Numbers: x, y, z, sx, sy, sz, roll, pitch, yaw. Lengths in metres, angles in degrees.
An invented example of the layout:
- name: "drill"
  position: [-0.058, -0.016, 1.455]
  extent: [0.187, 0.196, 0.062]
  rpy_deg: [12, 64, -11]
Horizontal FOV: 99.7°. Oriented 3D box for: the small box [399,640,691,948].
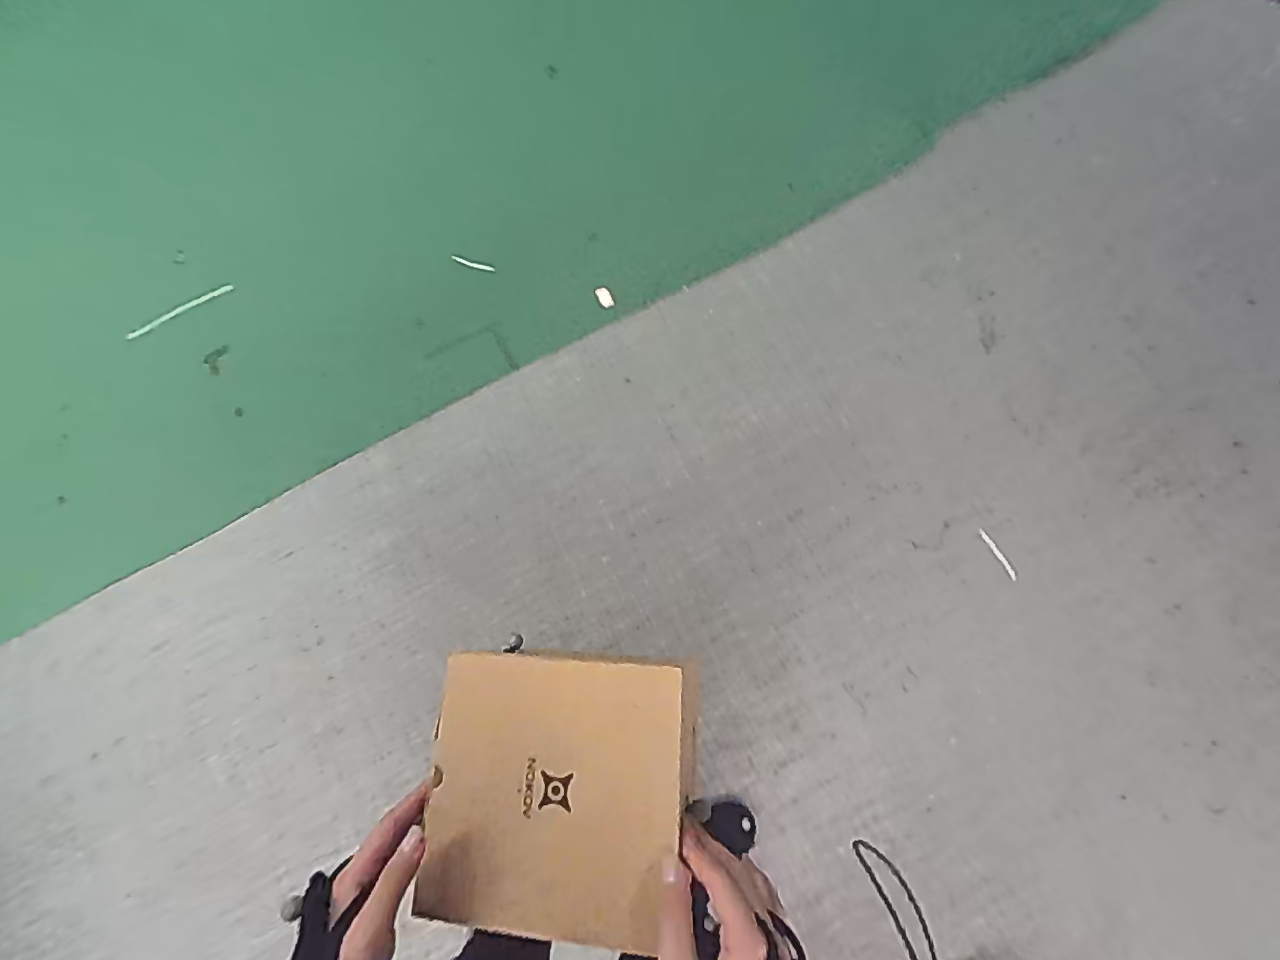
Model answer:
- name: "small box"
  position: [-0.052, 0.216, 0.425]
  extent: [0.179, 0.176, 0.168]
  rpy_deg: [0, 74, 10]
